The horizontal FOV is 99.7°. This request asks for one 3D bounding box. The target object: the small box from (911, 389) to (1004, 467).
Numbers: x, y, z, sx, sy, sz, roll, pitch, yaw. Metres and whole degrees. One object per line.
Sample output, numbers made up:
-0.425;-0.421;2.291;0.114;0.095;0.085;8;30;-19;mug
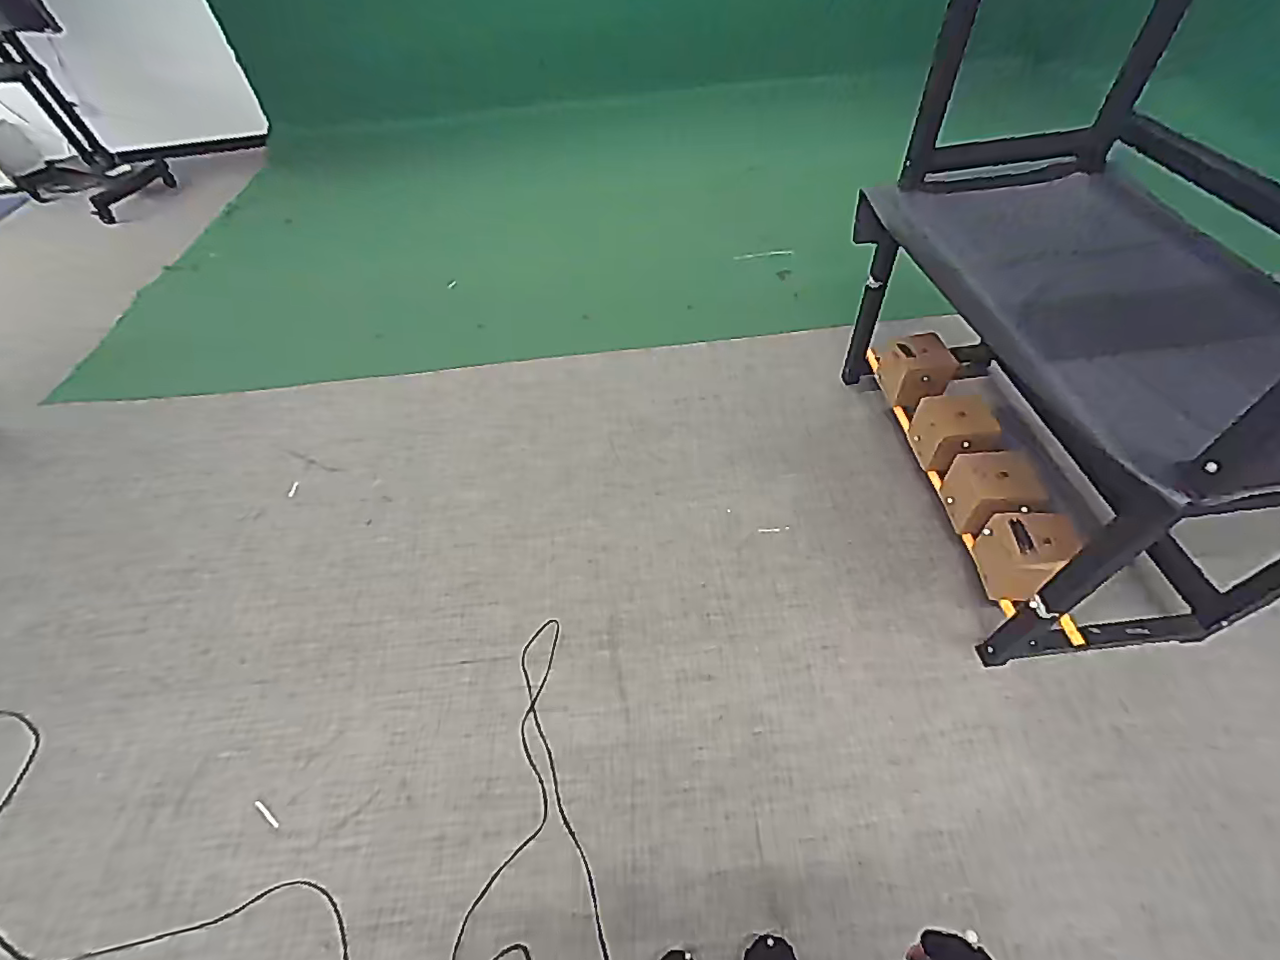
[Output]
0.975;-0.158;1.677;0.179;0.176;0.168;-7;52;4;small box
